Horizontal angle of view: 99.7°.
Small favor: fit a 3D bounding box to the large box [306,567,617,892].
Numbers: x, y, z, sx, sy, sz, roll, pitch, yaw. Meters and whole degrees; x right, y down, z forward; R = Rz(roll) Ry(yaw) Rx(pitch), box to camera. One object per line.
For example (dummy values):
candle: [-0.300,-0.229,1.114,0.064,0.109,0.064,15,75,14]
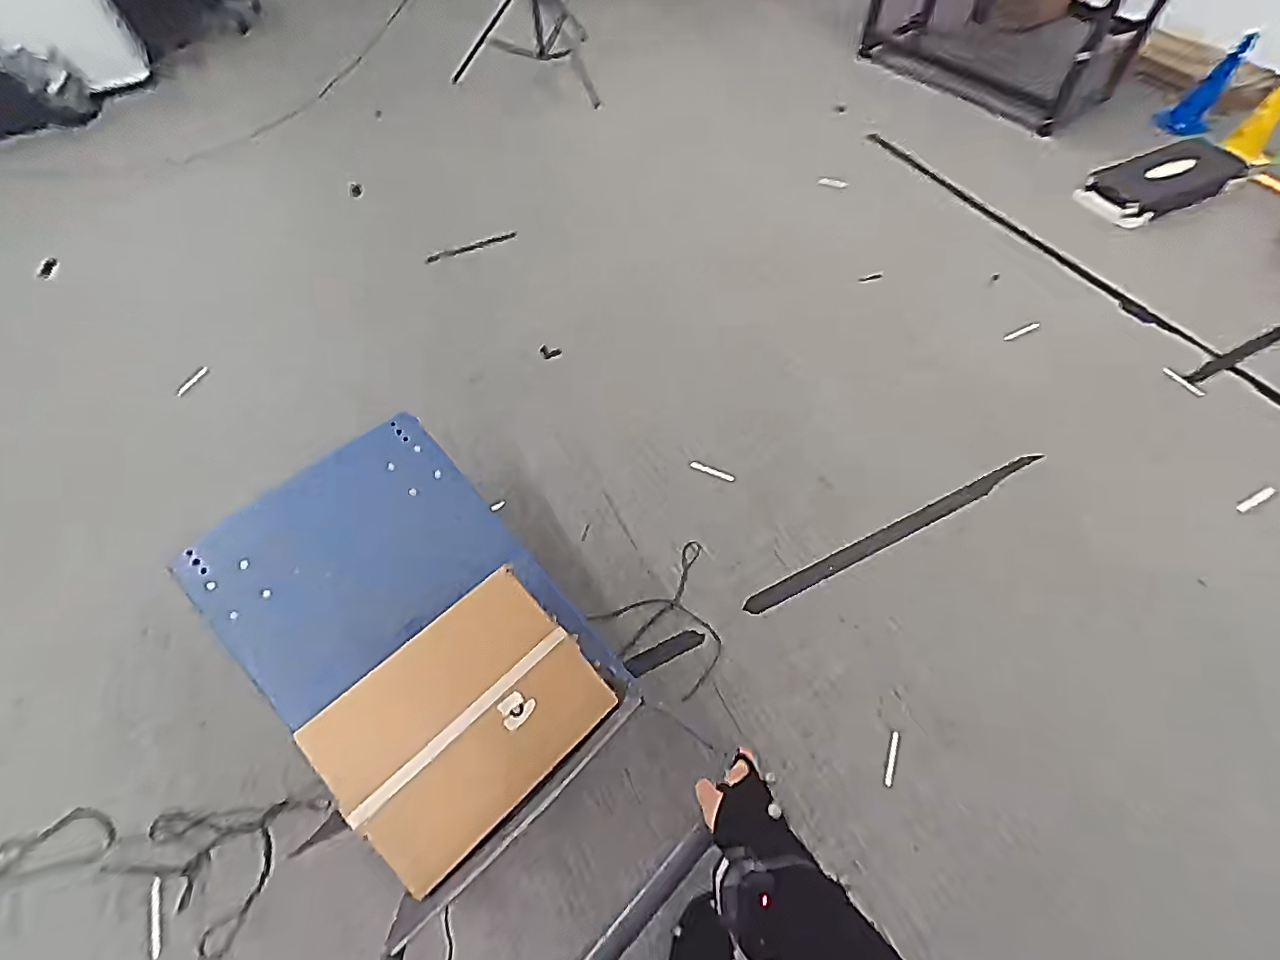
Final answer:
large box: [-0.309,0.433,1.025,0.408,0.320,0.320,-40,85,-22]
